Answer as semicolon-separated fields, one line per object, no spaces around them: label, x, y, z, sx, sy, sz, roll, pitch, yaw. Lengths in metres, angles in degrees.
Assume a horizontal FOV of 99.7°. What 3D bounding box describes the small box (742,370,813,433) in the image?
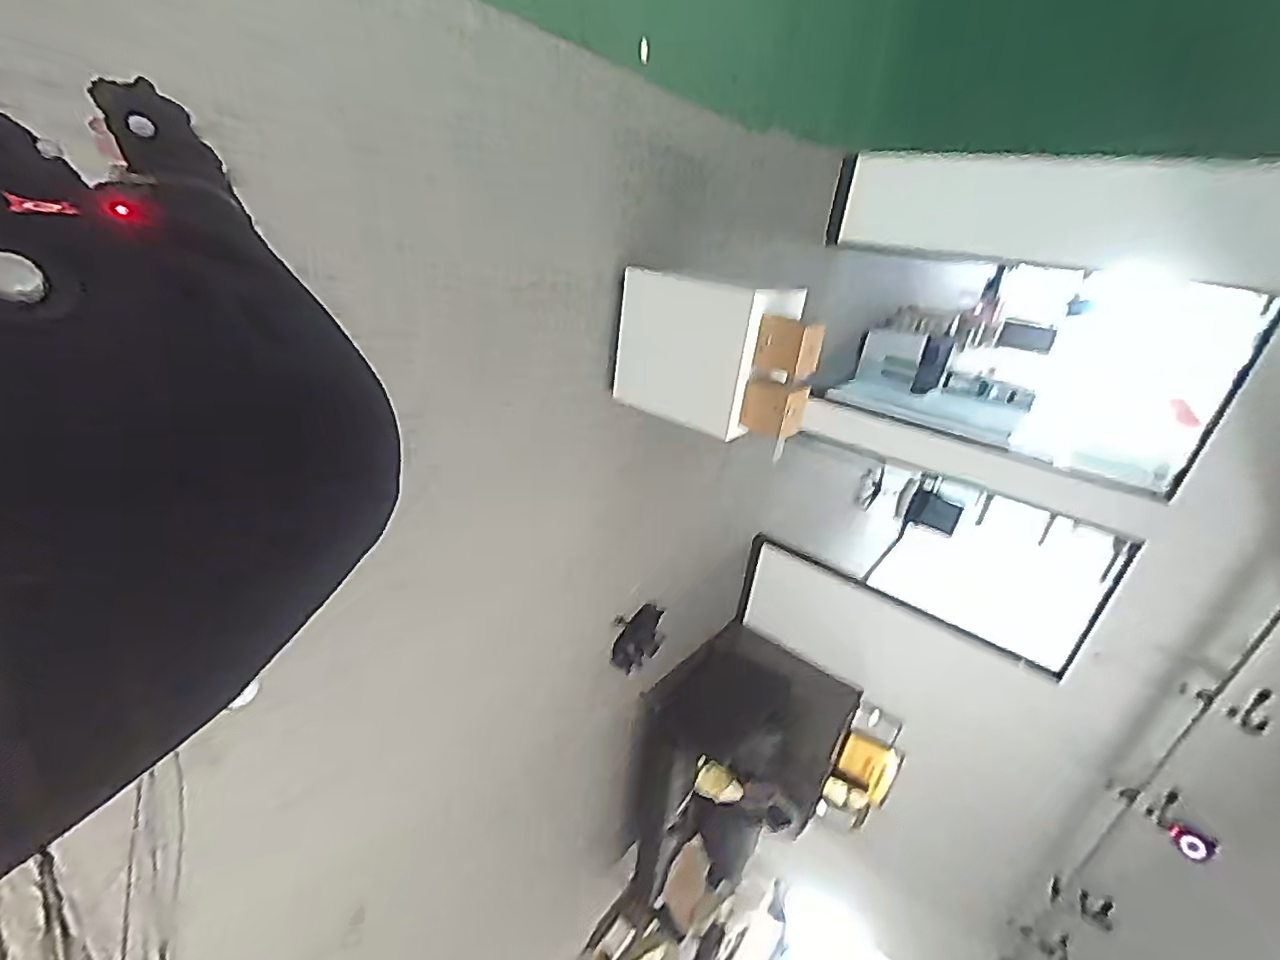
small box;0.487;-0.286;1.927;0.179;0.176;0.168;-24;129;-46

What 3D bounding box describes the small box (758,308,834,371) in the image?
small box;0.527;-0.481;1.832;0.179;0.176;0.168;-23;128;-43
